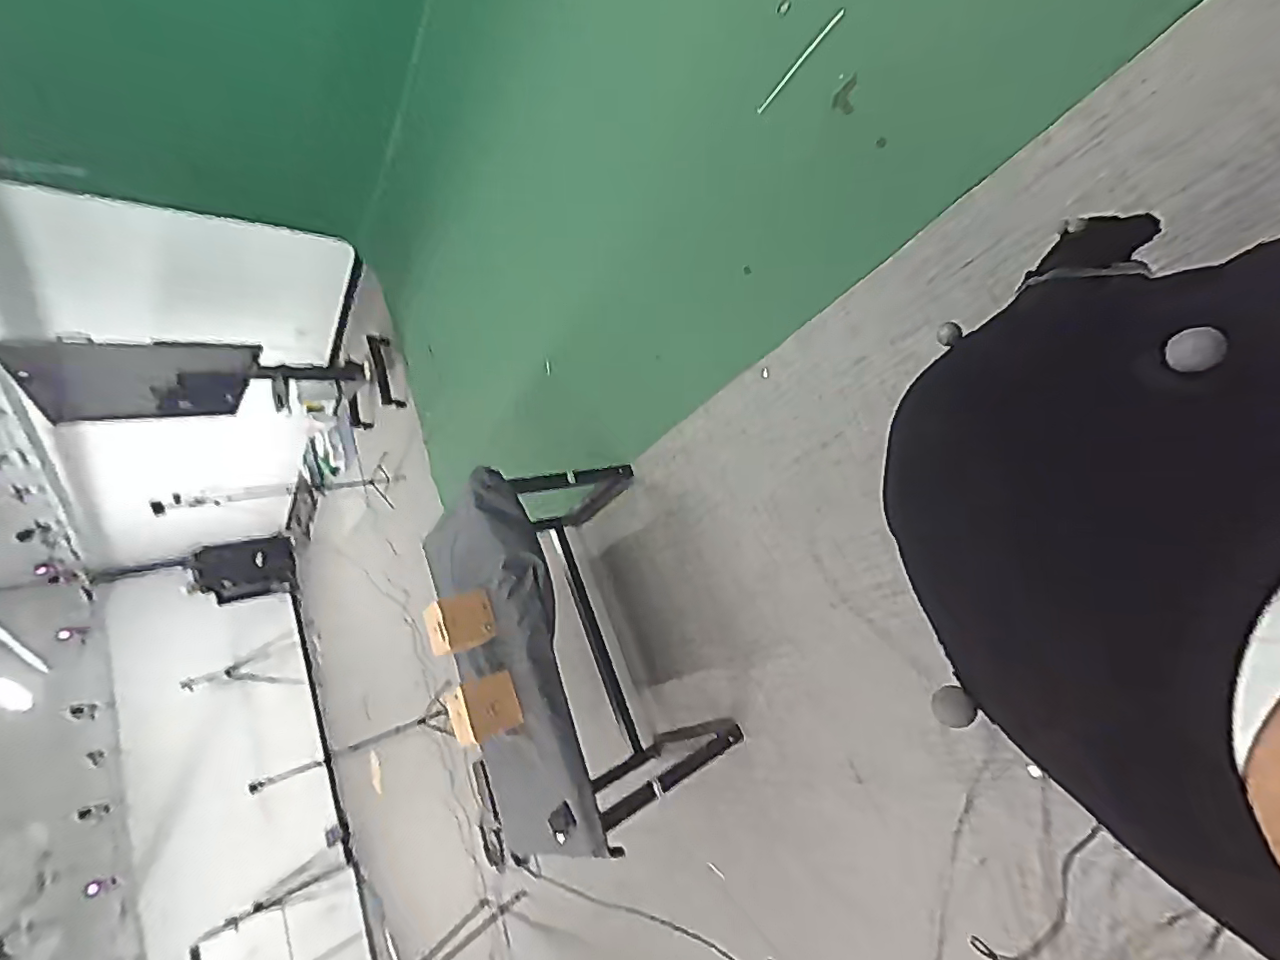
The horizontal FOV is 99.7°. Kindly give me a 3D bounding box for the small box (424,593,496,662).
[{"bbox_3d":[-0.605,0.496,1.828,0.179,0.176,0.168,-37,69,46],"label":"small box"}]

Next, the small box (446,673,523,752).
[{"bbox_3d":[-0.501,0.752,1.756,0.168,0.176,0.179,-39,68,44],"label":"small box"}]
